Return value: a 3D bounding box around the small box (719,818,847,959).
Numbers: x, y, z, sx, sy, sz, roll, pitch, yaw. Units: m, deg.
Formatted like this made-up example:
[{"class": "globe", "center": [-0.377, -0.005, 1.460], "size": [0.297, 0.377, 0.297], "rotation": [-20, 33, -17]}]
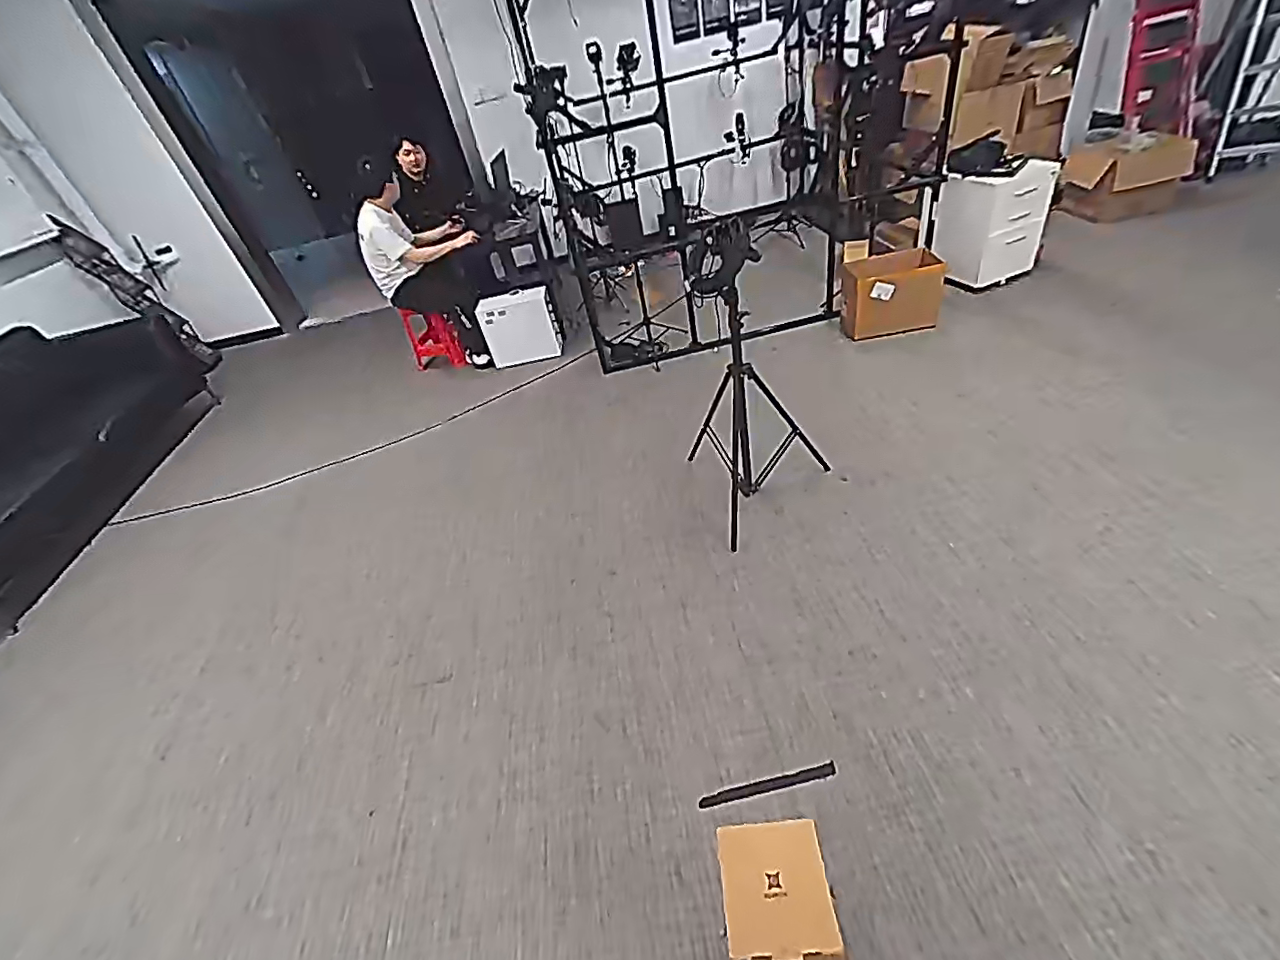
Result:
[{"class": "small box", "center": [0.228, 0.691, 0.890], "size": [0.168, 0.176, 0.179], "rotation": [-10, 39, 6]}]
